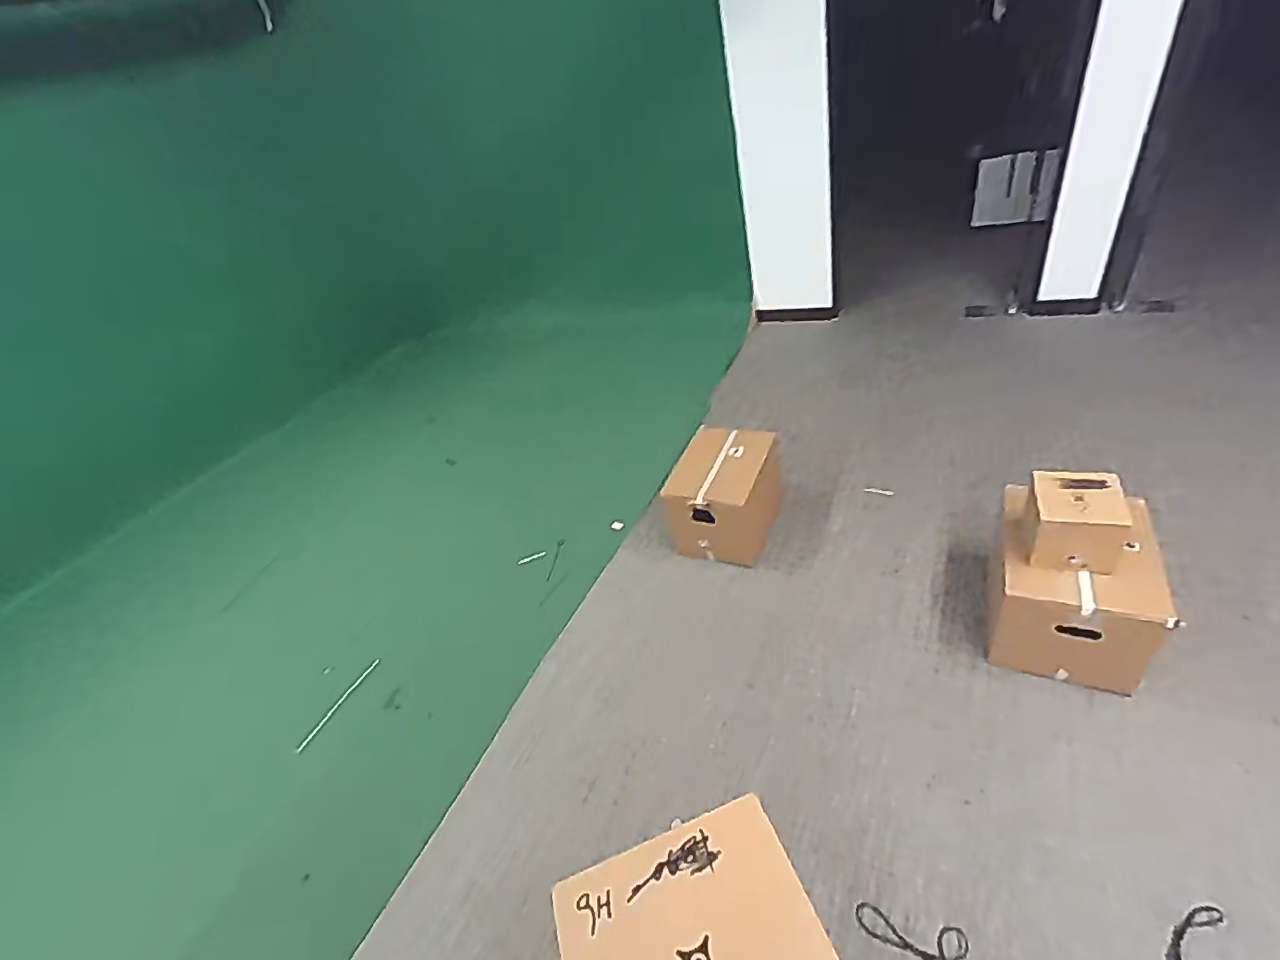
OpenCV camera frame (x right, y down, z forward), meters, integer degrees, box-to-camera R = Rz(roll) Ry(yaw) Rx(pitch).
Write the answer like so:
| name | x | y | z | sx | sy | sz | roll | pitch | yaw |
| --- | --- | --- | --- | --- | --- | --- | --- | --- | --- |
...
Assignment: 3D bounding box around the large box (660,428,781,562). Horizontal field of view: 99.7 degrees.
| name | x | y | z | sx | sy | sz | roll | pitch | yaw |
| --- | --- | --- | --- | --- | --- | --- | --- | --- | --- |
| large box | 0.318 | 0.048 | 2.039 | 0.320 | 0.320 | 0.408 | 7 | 44 | 29 |
